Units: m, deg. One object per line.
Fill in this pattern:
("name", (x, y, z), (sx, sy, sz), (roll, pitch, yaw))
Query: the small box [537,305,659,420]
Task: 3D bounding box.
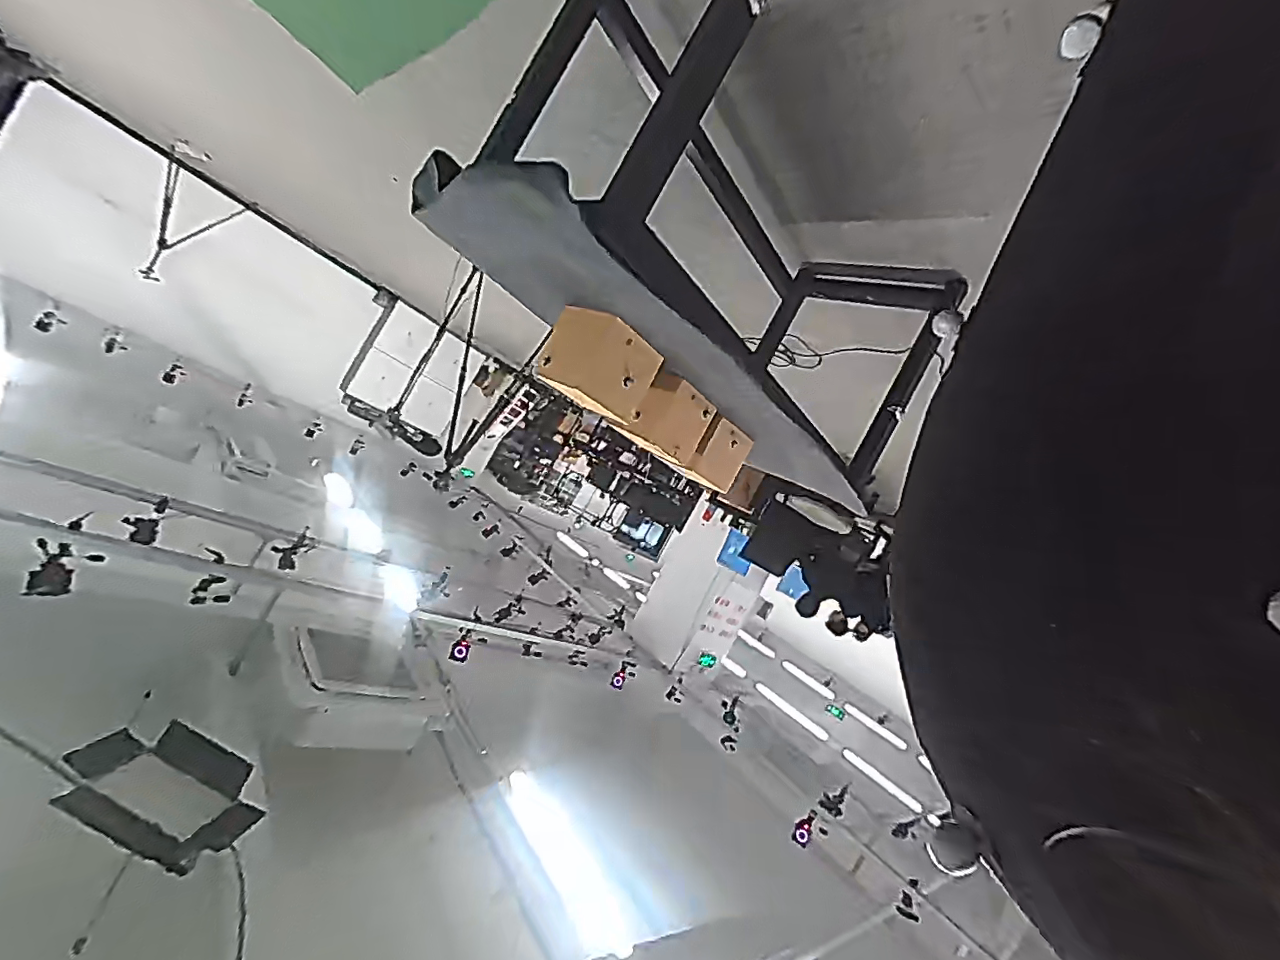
("small box", (-0.081, -0.252, 1.147), (0.179, 0.176, 0.168), (28, 179, 44))
